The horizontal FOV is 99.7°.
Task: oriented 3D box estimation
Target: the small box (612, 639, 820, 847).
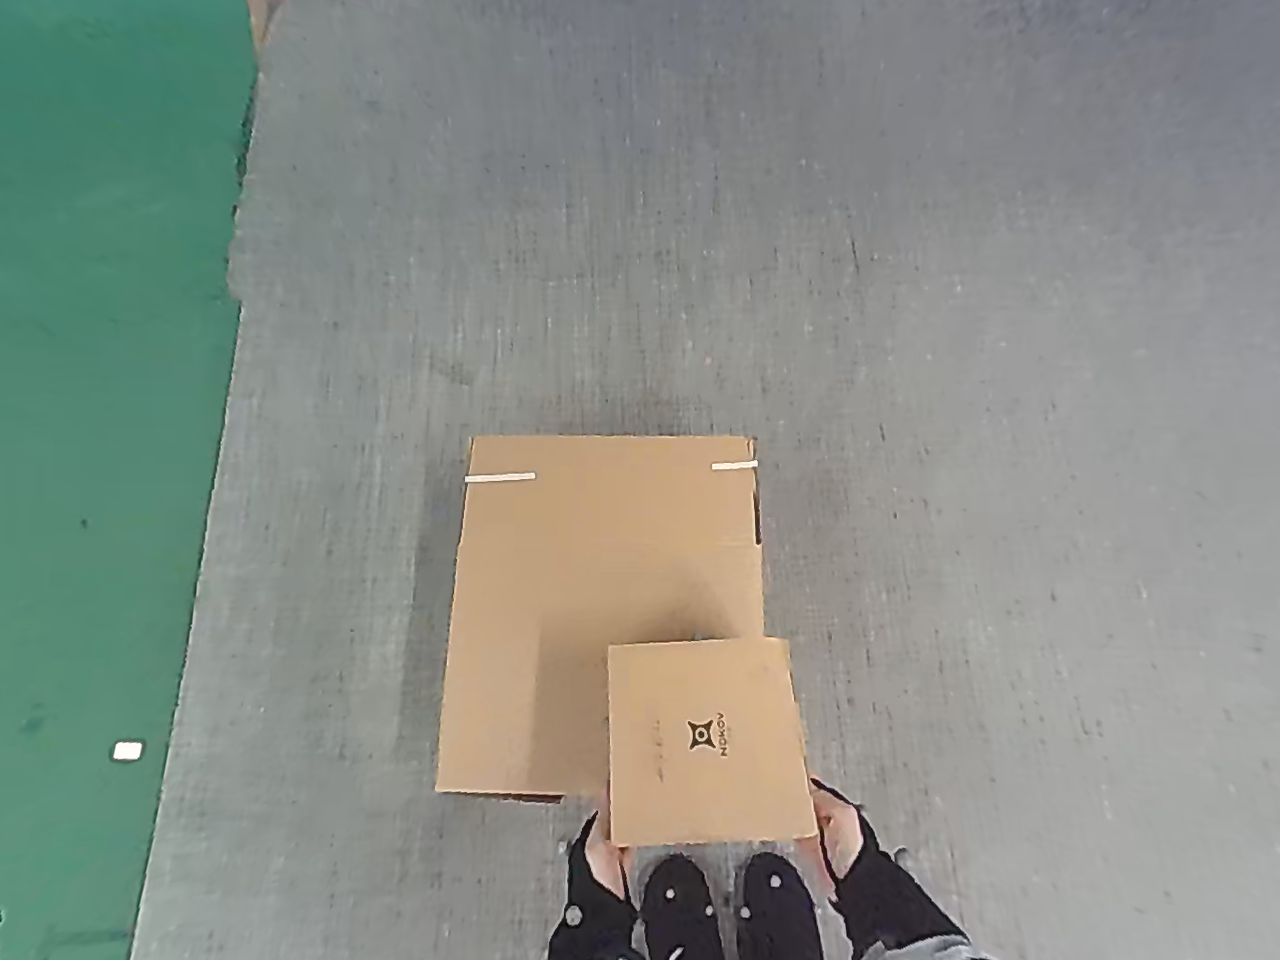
[{"bbox_3d":[0.063,0.264,0.557,0.179,0.176,0.168,-3,63,0],"label":"small box"}]
